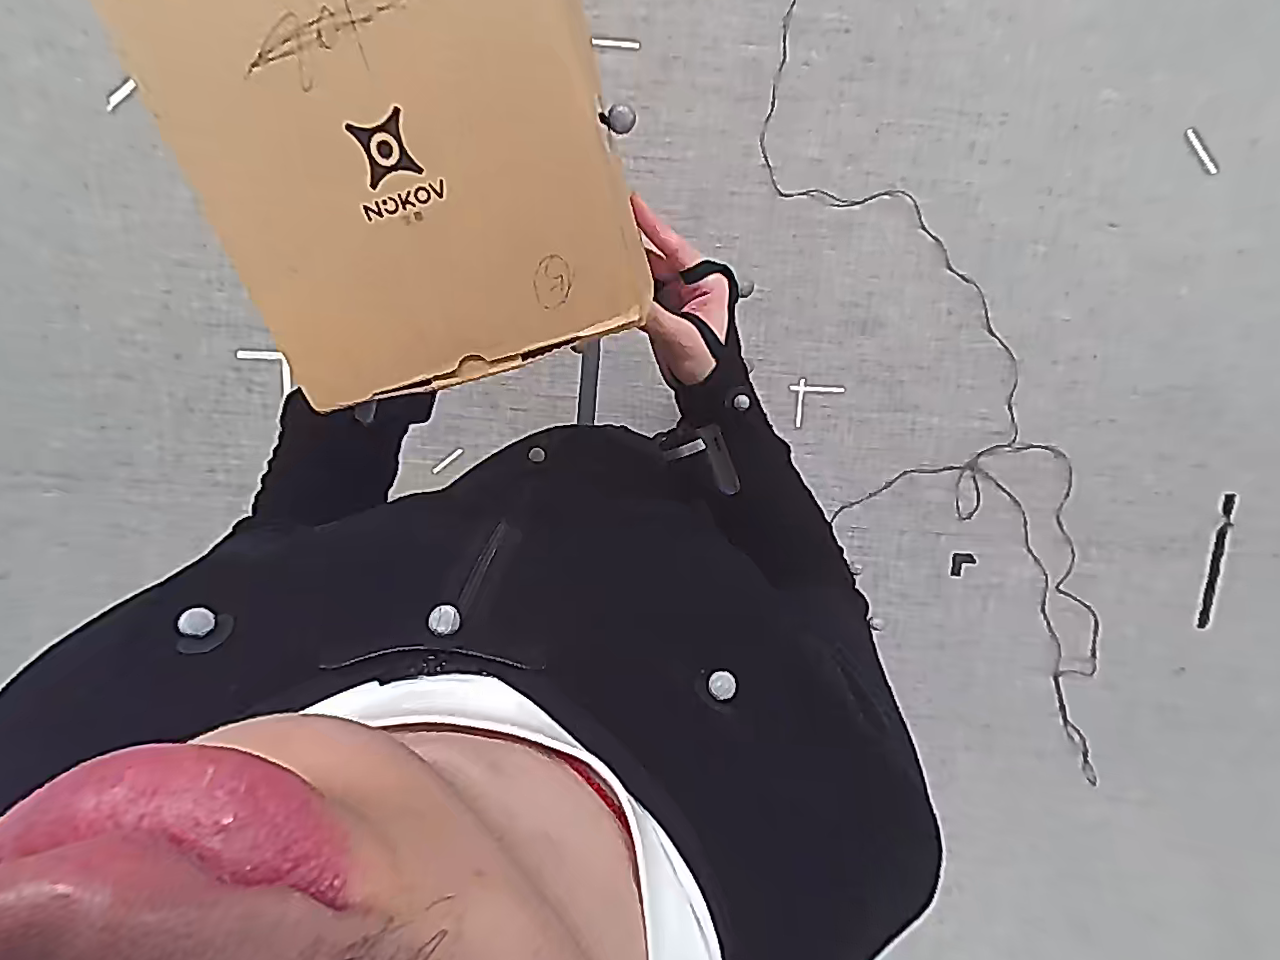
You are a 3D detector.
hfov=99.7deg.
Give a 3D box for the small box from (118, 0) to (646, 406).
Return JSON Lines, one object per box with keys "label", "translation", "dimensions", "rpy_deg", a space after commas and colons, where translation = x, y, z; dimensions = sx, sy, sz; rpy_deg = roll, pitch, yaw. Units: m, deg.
{"label": "small box", "translation": [-0.095, -0.163, 0.297], "dimensions": [0.168, 0.176, 0.179], "rpy_deg": [-14, 113, 8]}
